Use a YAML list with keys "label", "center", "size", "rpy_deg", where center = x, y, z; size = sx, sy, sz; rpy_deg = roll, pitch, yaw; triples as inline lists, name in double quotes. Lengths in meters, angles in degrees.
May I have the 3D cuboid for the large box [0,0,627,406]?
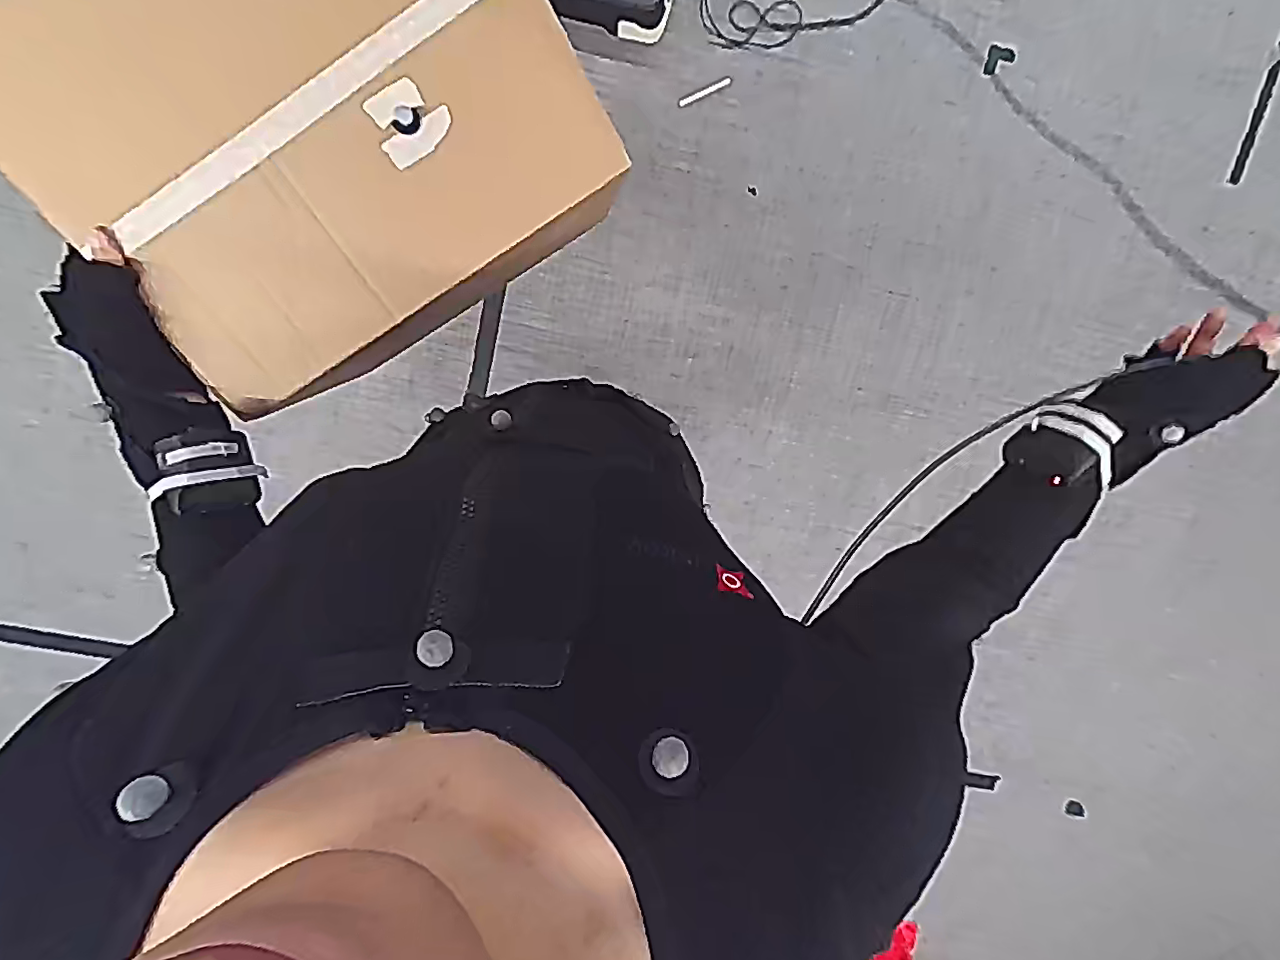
- label: "large box"
  center: [-0.273, -0.332, 0.554]
  size: [0.408, 0.320, 0.320]
  rpy_deg: [-32, 111, 3]
